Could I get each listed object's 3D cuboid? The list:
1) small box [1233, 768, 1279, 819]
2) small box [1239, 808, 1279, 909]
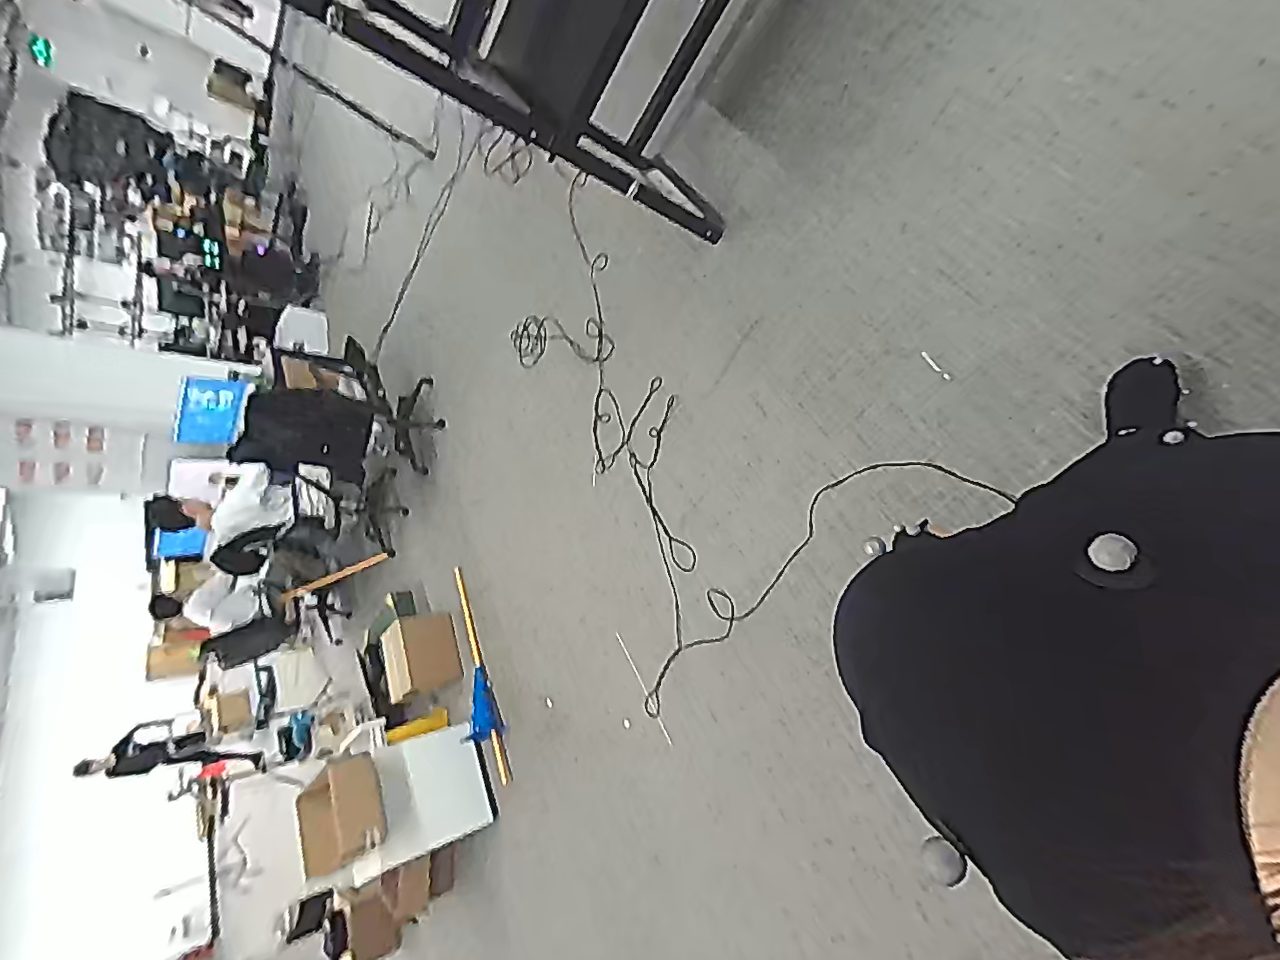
[{"bbox_3d":[1.157,0.597,0.900,0.168,0.176,0.179,-43,59,35],"label":"small box"},{"bbox_3d":[1.041,0.596,0.783,0.168,0.176,0.179,-45,59,34],"label":"small box"}]
